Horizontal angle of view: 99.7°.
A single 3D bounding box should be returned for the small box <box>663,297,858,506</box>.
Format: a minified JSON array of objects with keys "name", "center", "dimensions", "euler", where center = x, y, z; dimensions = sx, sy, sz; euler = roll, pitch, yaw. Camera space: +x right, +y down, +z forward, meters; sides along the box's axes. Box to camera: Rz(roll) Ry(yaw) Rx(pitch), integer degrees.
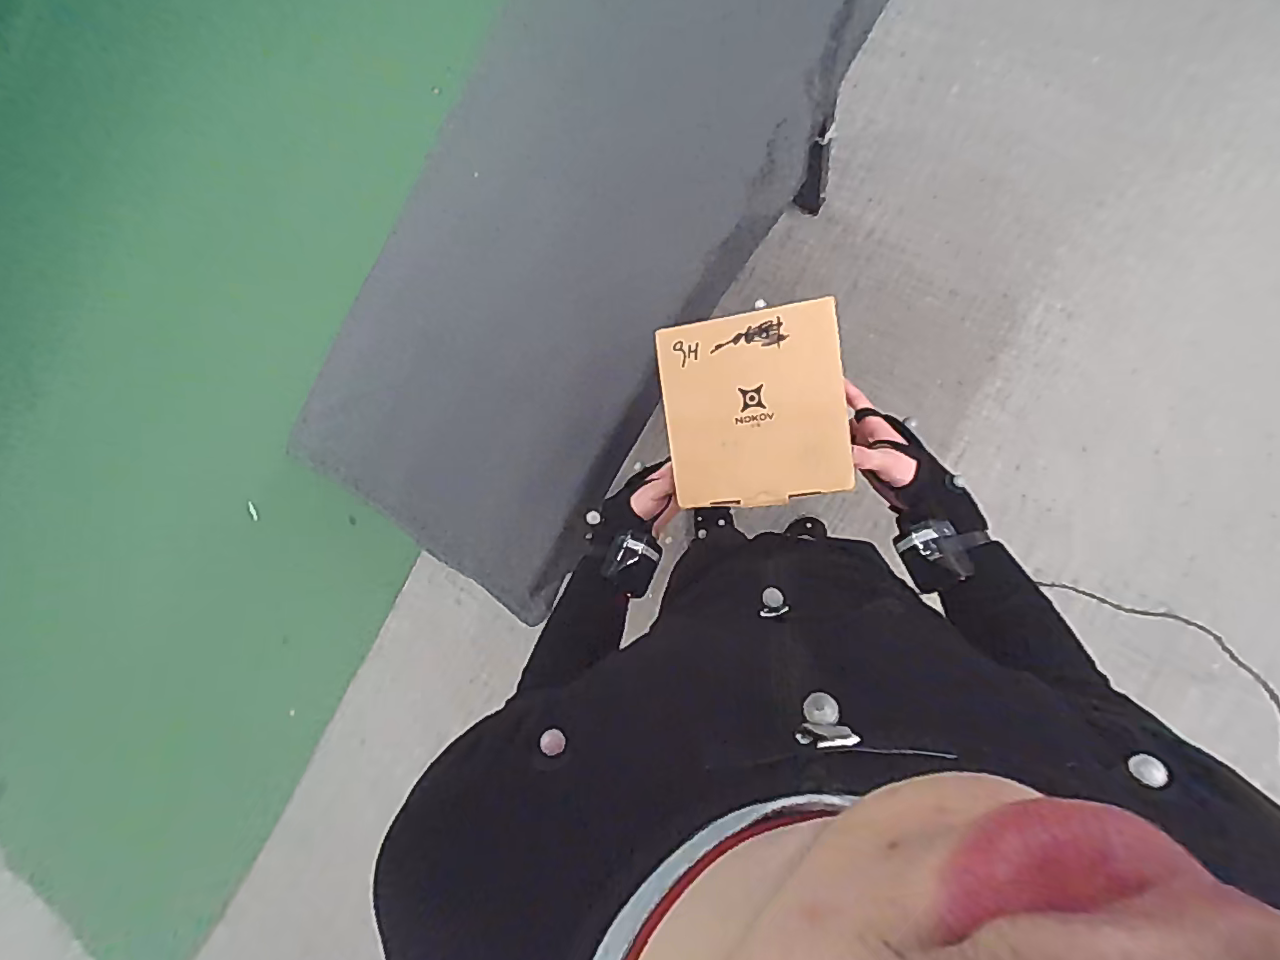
[{"name":"small box","center":[0.128,-0.077,0.574],"dimensions":[0.168,0.176,0.179],"euler":[-6,94,14]}]
